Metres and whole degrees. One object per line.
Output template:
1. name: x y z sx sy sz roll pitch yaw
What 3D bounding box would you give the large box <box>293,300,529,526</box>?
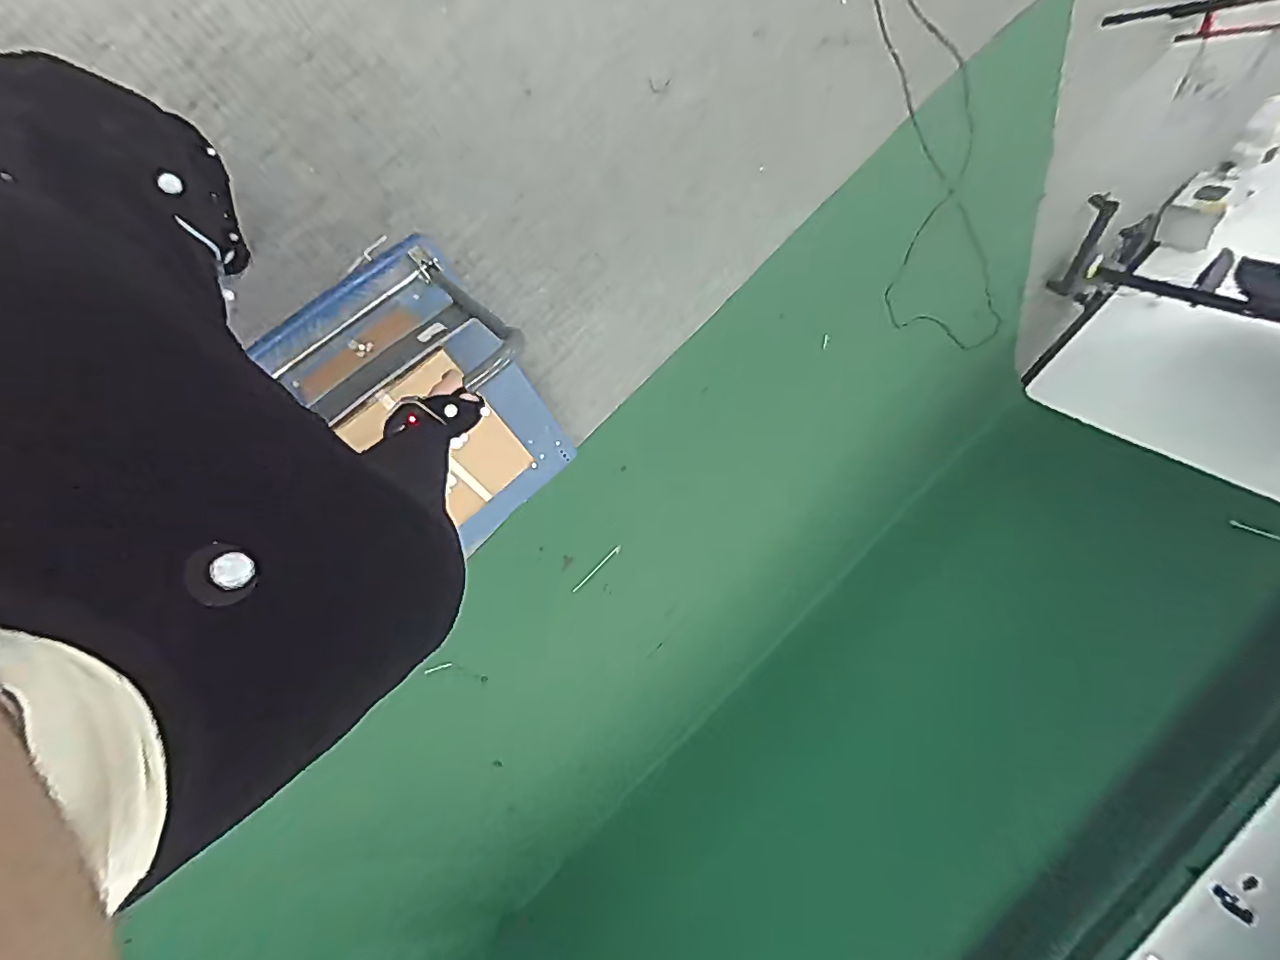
1. large box: -0.561 -0.163 1.355 0.320 0.320 0.408 -41 141 -8
